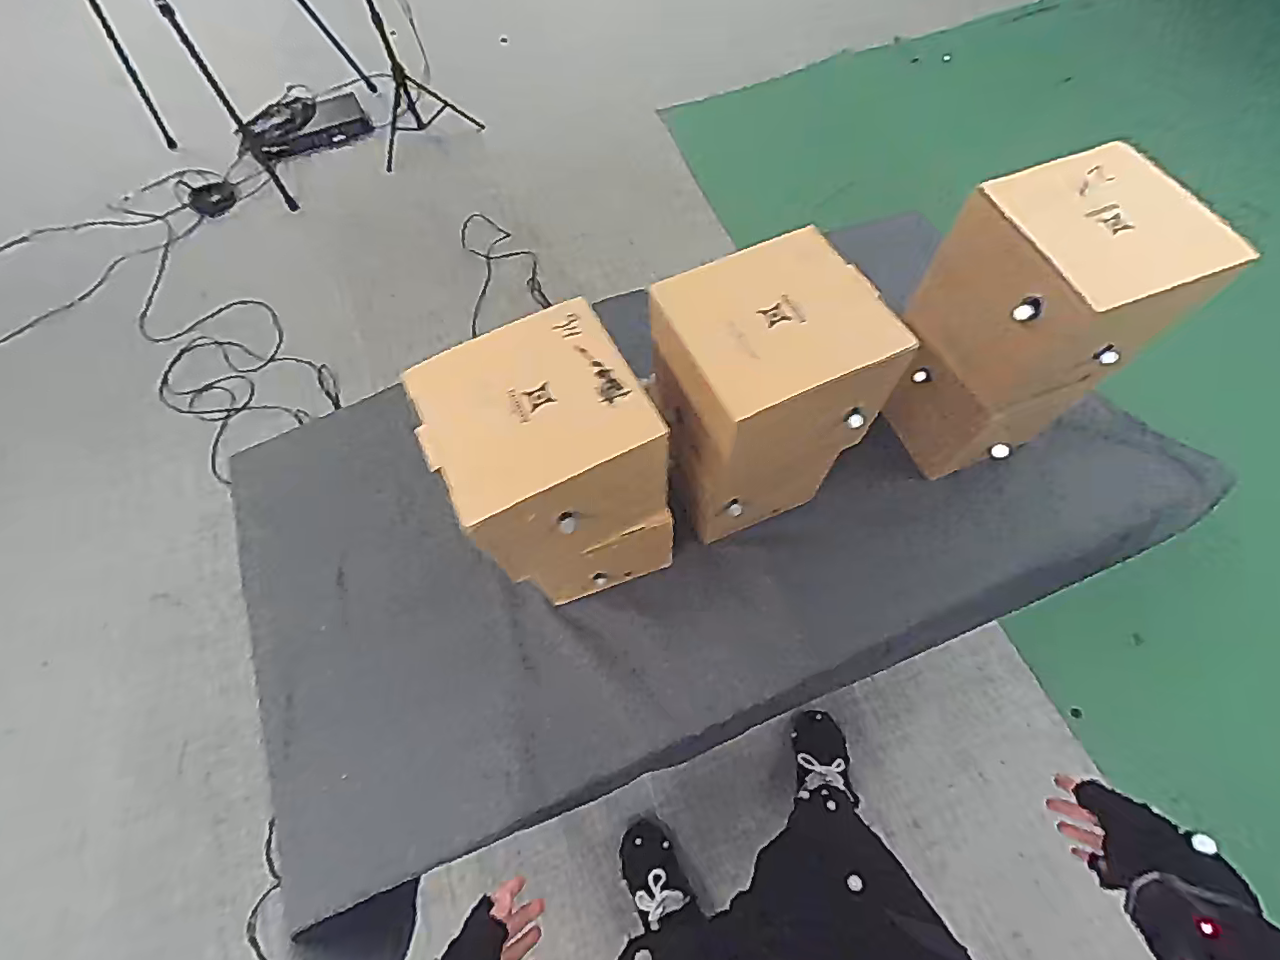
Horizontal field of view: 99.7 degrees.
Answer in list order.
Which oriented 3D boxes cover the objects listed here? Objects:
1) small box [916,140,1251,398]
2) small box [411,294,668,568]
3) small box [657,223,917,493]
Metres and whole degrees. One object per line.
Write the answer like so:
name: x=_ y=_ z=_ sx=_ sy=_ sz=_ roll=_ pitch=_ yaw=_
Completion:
small box: x=0.435 y=-0.207 z=0.570 sx=0.168 sy=0.176 sz=0.179 roll=-19 pitch=65 yaw=-5
small box: x=-0.083 y=-0.036 z=0.523 sx=0.179 sy=0.176 sz=0.168 roll=-27 pitch=67 yaw=-8
small box: x=0.129 y=-0.114 z=0.547 sx=0.179 sy=0.176 sz=0.168 roll=-24 pitch=65 yaw=-6
